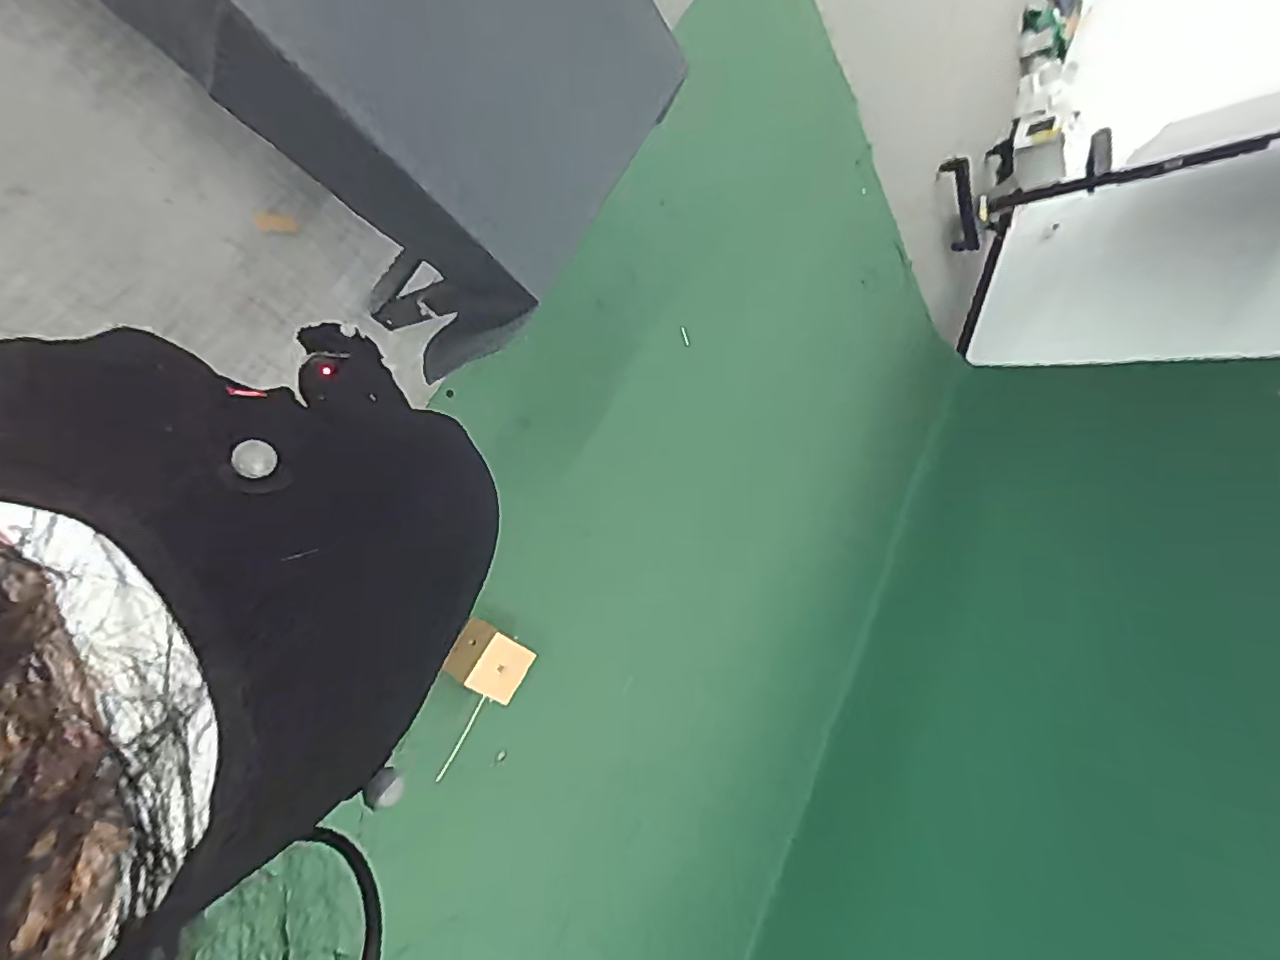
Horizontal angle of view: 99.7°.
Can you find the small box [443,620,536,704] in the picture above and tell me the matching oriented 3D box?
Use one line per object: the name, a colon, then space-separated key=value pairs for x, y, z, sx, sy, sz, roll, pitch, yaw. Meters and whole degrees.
small box: x=-0.457 y=0.540 z=1.624 sx=0.179 sy=0.176 sz=0.168 roll=46 pitch=65 yaw=-37
